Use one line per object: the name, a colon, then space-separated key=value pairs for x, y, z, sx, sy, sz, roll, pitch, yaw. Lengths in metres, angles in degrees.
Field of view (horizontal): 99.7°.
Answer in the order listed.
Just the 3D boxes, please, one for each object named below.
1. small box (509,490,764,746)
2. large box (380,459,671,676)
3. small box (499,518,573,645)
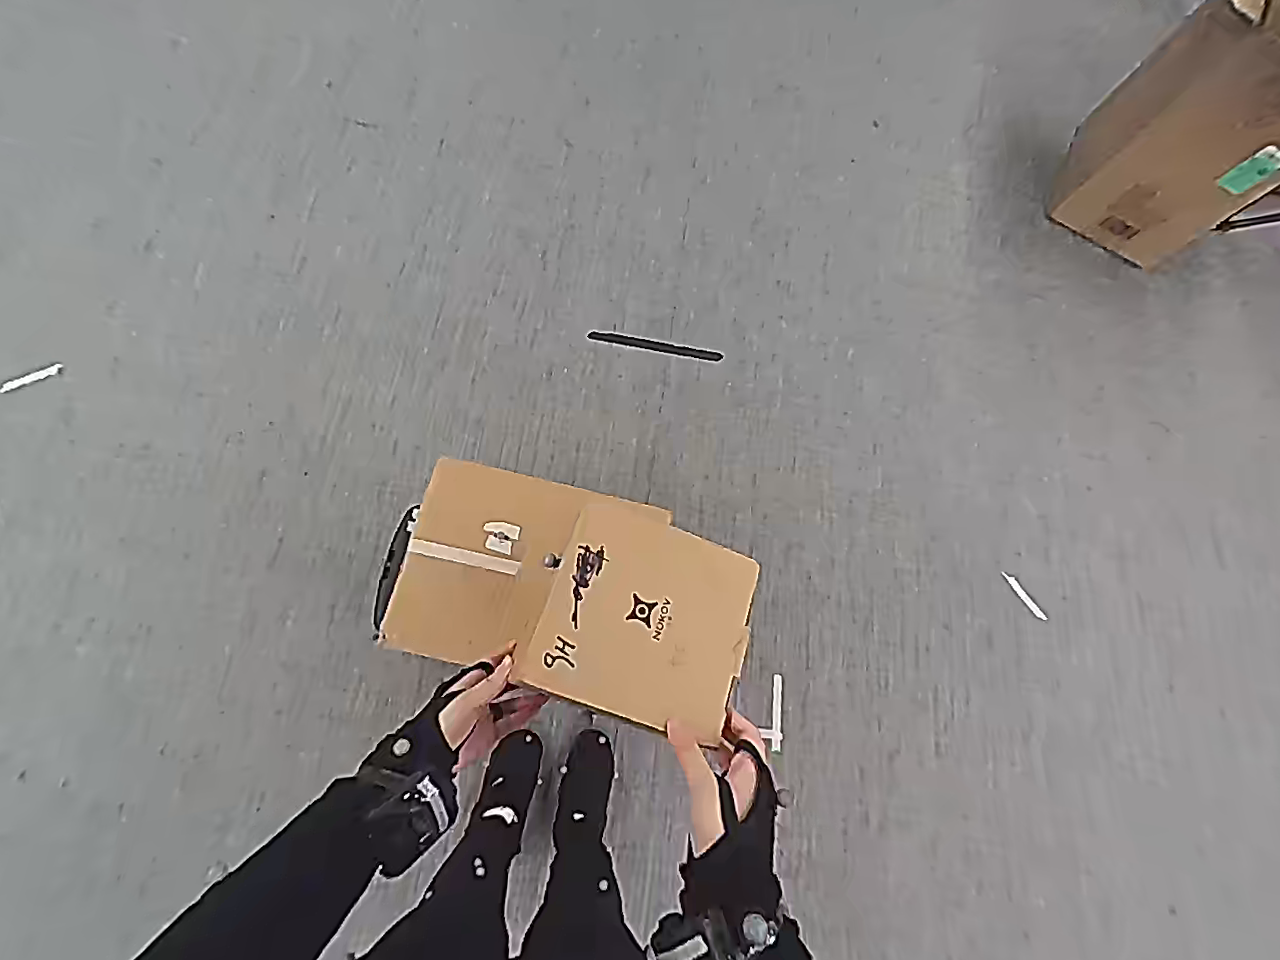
small box: x=-0.011 y=0.136 z=0.526 sx=0.179 sy=0.176 sz=0.168 roll=24 pitch=64 yaw=-8
large box: x=-0.183 y=0.189 z=1.001 sx=0.408 sy=0.320 sz=0.320 roll=14 pitch=72 yaw=-3
small box: x=-0.079 y=0.167 z=0.764 sx=0.179 sy=0.176 sz=0.168 roll=17 pitch=73 yaw=-2
